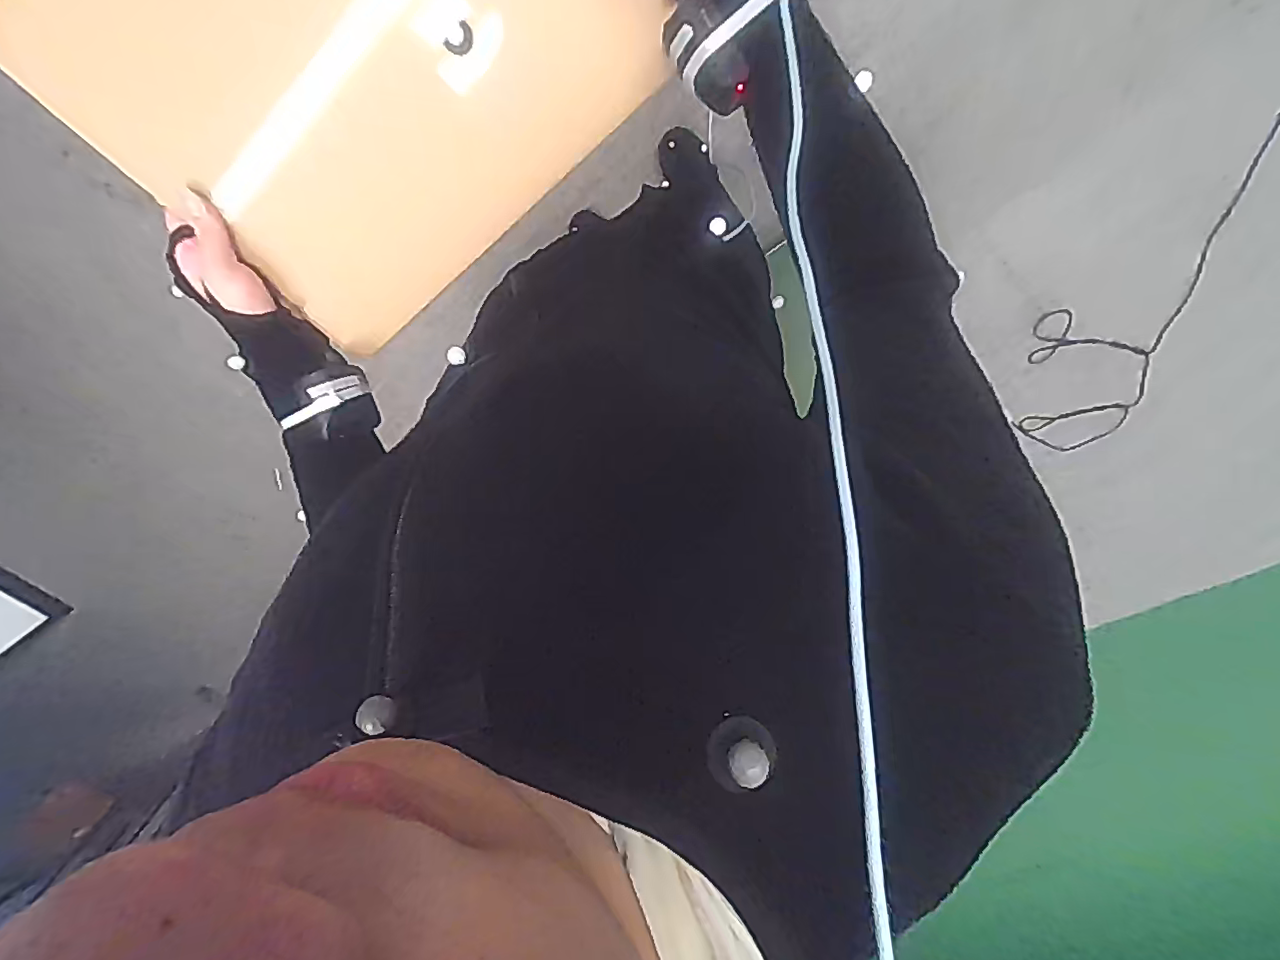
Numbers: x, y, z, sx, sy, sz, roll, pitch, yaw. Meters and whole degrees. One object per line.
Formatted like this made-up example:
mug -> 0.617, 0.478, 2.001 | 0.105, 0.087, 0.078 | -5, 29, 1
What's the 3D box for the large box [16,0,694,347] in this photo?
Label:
large box -> -0.213, -0.412, 0.516 | 0.408, 0.320, 0.320 | -33, 123, 19
